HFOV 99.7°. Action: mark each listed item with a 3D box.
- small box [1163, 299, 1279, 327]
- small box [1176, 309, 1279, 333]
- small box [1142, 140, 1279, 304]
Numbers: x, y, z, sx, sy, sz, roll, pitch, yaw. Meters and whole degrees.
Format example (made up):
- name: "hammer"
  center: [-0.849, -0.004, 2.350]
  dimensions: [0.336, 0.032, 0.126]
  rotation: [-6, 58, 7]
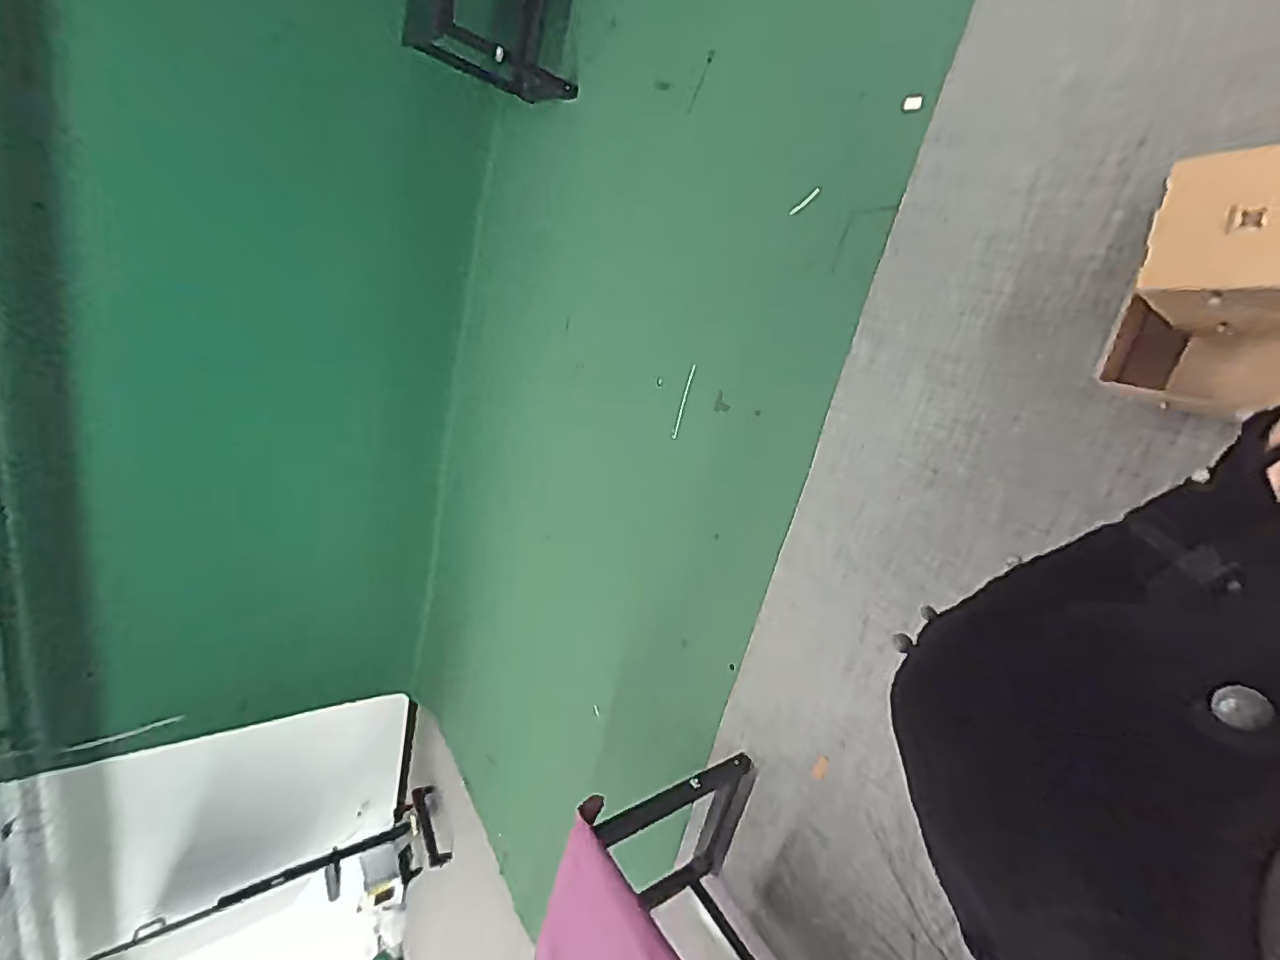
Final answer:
- name: "small box"
  center: [0.947, -0.333, 0.813]
  dimensions: [0.168, 0.176, 0.179]
  rotation: [31, 115, 46]
- name: "small box"
  center: [1.071, -0.347, 0.919]
  dimensions: [0.179, 0.176, 0.168]
  rotation: [25, 111, 47]
- name: "small box"
  center: [0.818, -0.332, 0.713]
  dimensions: [0.179, 0.176, 0.168]
  rotation: [22, 109, 50]
